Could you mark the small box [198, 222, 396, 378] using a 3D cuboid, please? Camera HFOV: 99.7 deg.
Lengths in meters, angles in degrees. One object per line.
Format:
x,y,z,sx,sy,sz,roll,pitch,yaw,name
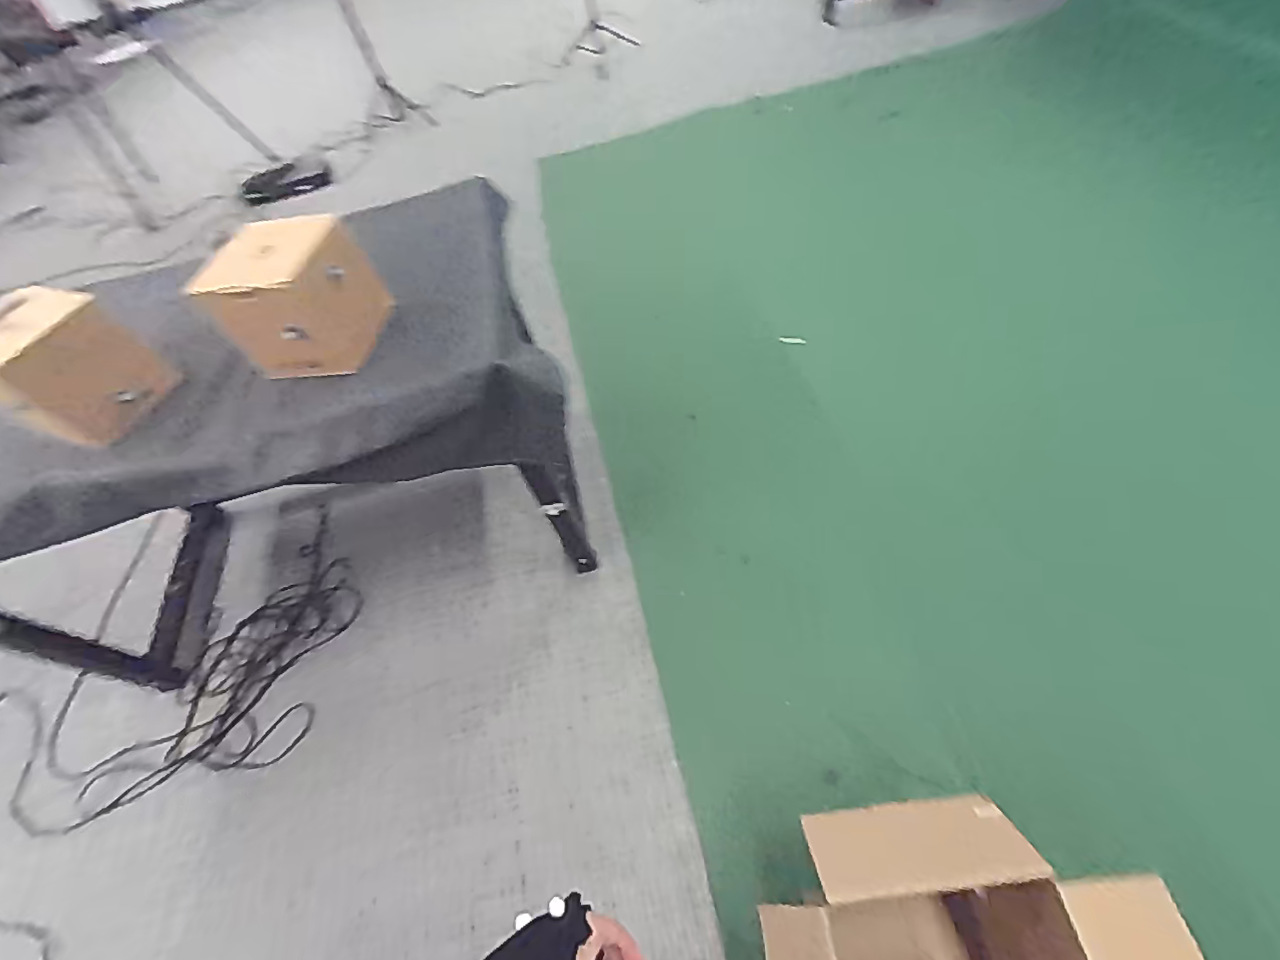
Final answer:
-0.516,-0.273,0.848,0.168,0.176,0.179,0,53,10,small box
